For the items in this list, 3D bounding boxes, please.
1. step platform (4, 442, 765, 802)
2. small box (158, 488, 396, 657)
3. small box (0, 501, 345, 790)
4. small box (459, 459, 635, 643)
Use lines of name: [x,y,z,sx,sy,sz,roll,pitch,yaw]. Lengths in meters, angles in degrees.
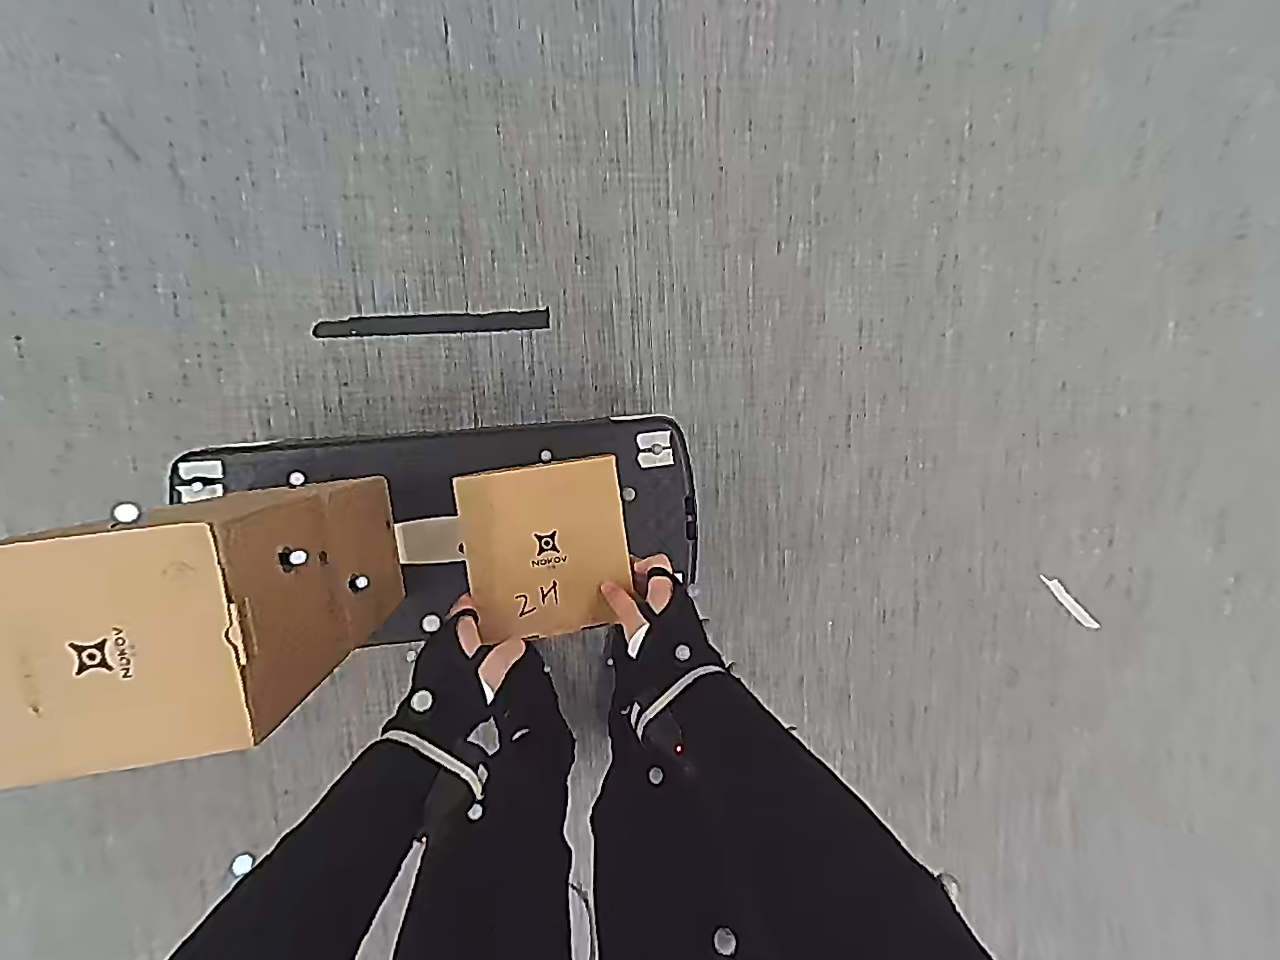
step platform: [-0.224,0.124,0.597,0.684,0.204,0.286,-5,96,-7]
small box: [-0.389,0.098,0.612,0.179,0.176,0.168,-7,96,-6]
small box: [-0.370,0.115,0.451,0.179,0.176,0.168,-7,95,-6]
small box: [-0.102,0.070,0.639,0.168,0.176,0.179,-8,94,-4]
